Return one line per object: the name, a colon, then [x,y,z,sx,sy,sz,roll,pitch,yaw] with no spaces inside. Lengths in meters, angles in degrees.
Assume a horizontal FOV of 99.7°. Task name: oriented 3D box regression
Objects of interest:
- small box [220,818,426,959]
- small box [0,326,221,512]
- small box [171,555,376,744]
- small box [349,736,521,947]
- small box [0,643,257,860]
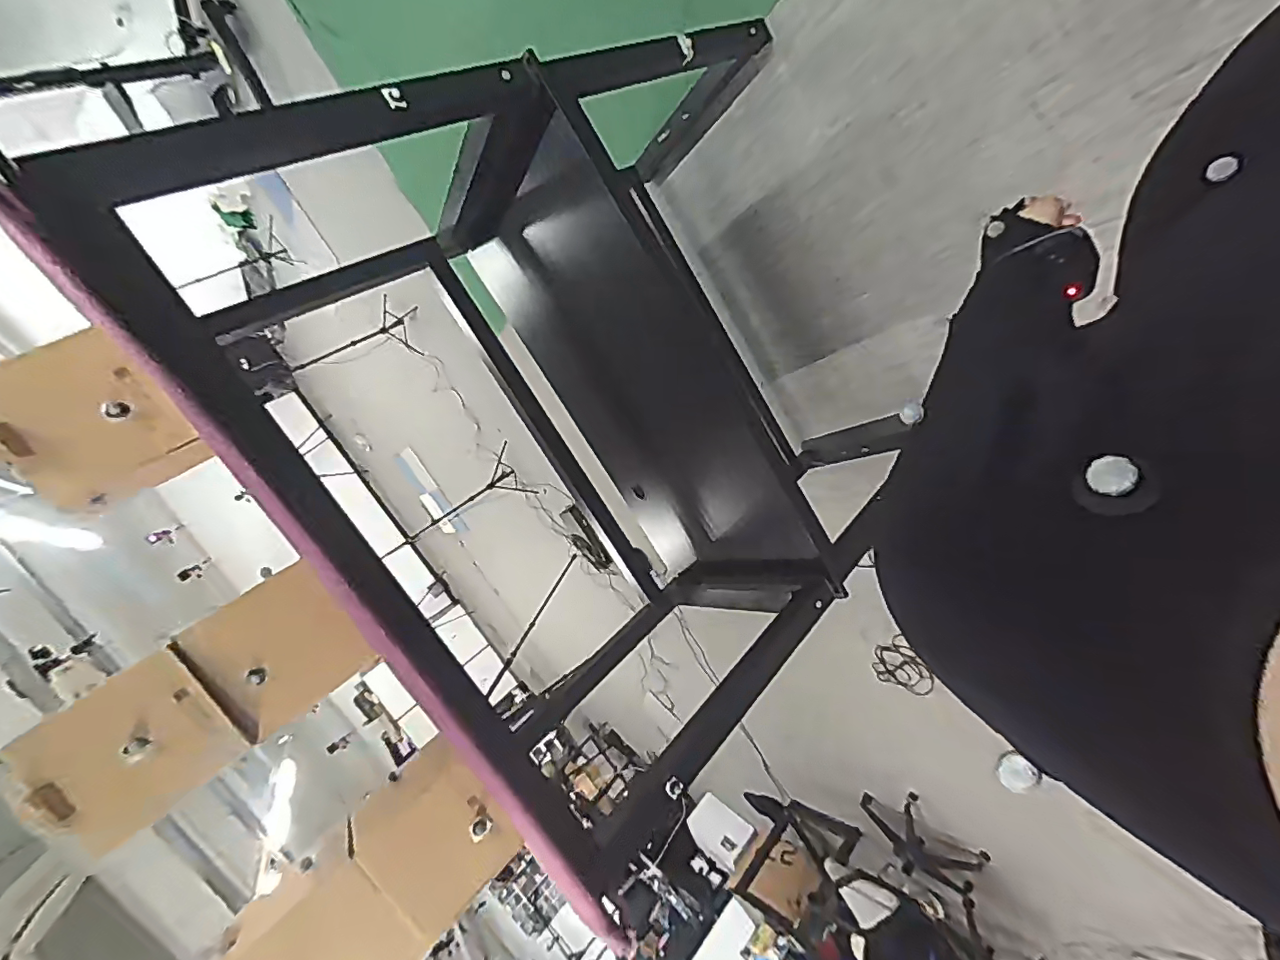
small box: [-0.412,0.606,0.722,0.179,0.176,0.168,55,149,-6]
small box: [-0.690,-0.073,0.705,0.168,0.176,0.179,58,152,-13]
small box: [-0.504,0.228,0.773,0.179,0.176,0.168,59,151,-10]
small box: [-0.302,0.513,0.802,0.168,0.176,0.179,55,149,-7]
small box: [-0.610,0.319,0.686,0.168,0.176,0.179,56,151,-6]
